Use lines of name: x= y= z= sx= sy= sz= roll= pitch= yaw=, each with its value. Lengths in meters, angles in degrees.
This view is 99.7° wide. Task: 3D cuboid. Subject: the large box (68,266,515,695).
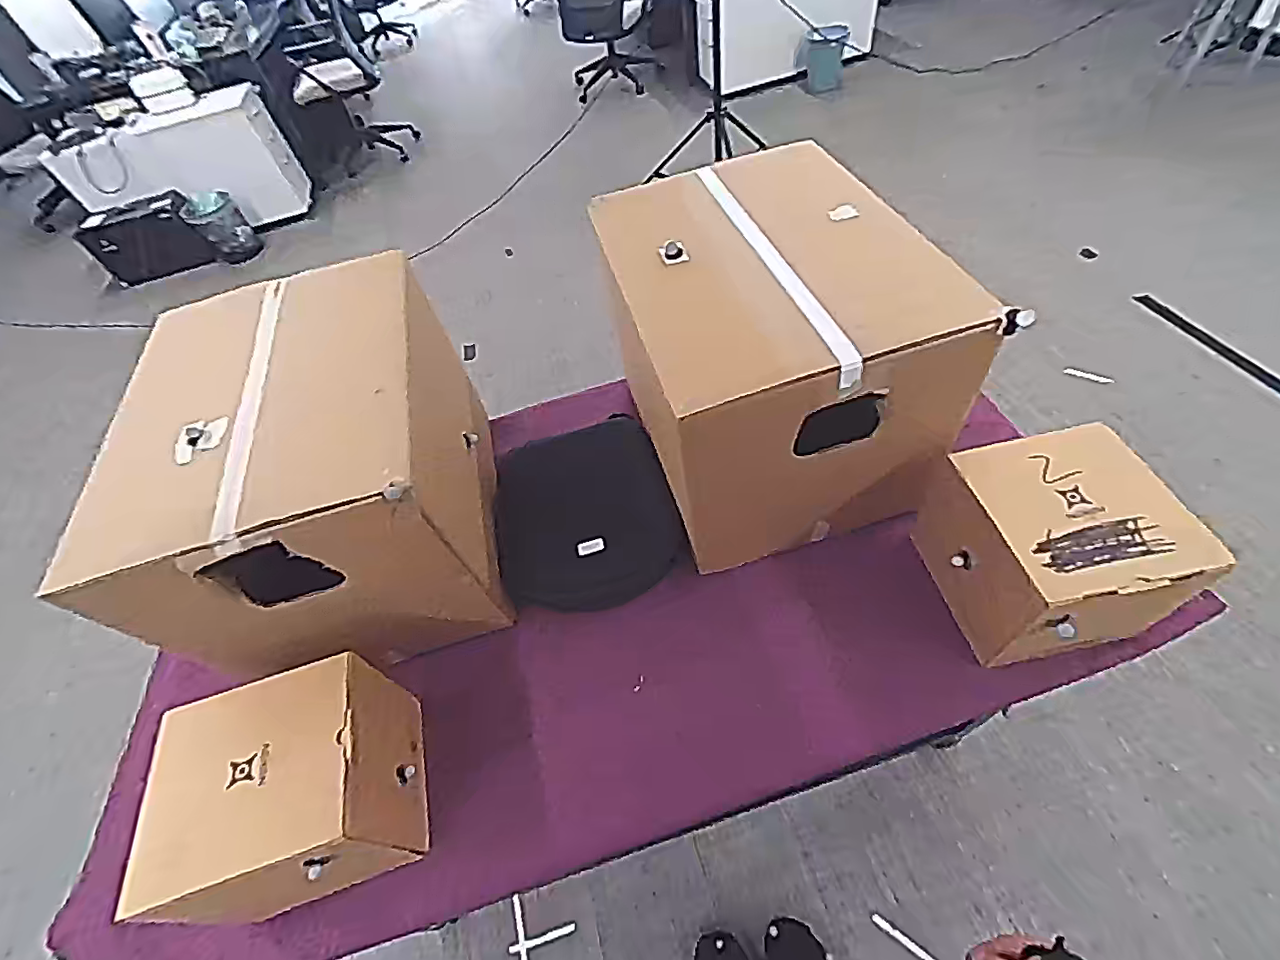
large box: x=-0.380 y=0.000 z=0.699 sx=0.320 sy=0.320 sz=0.408 roll=-18 pitch=55 yaw=-3
